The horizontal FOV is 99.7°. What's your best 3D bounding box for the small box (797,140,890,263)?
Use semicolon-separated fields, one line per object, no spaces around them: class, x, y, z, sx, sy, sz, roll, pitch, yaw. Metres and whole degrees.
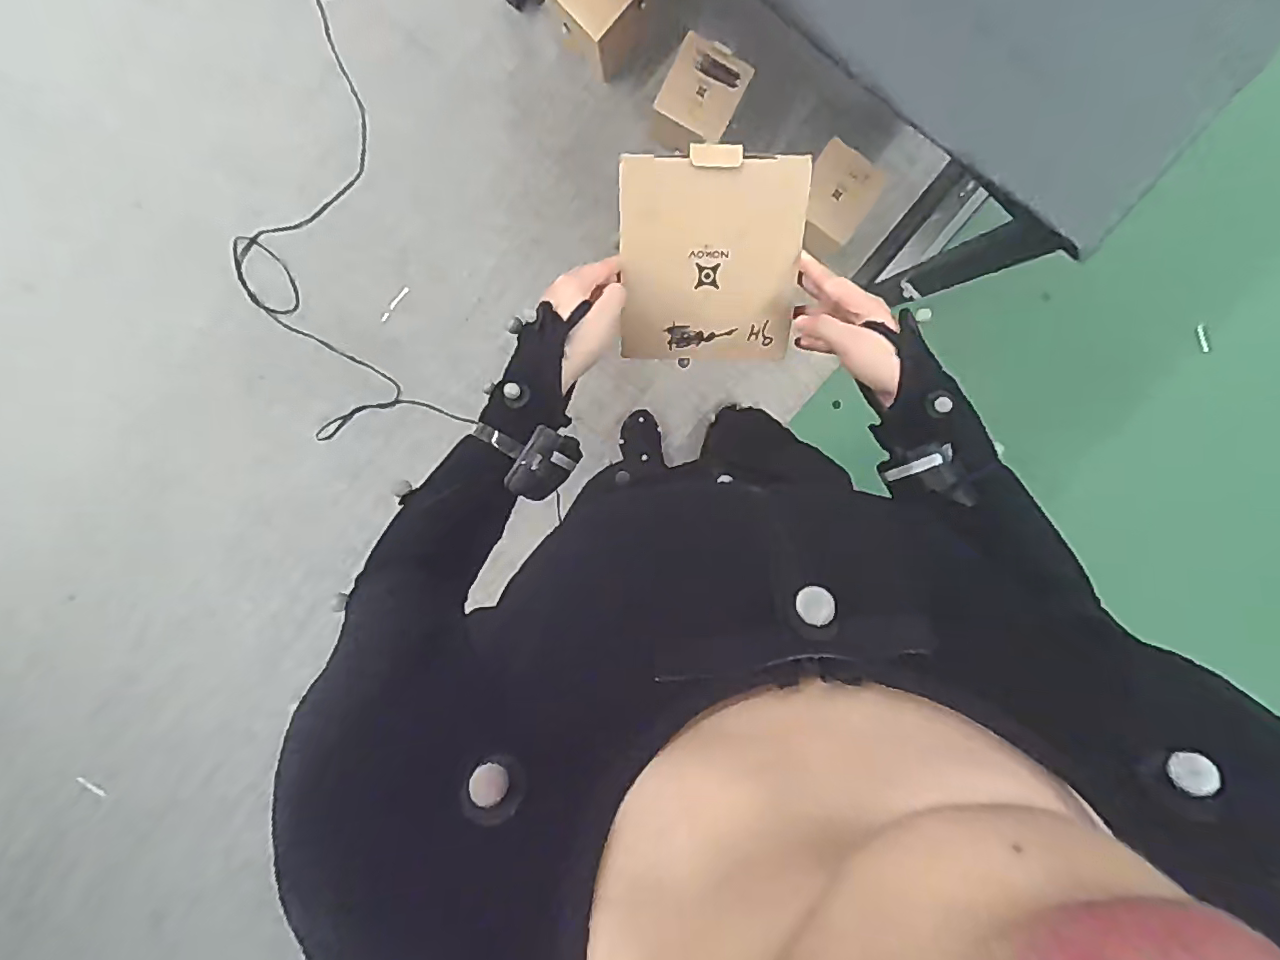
small box;0.445;-0.648;1.286;0.168;0.176;0.179;35;98;-6

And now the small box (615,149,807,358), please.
small box;0.060;-0.235;0.562;0.168;0.176;0.179;1;118;1

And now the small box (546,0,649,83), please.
small box;-0.089;-1.064;1.225;0.168;0.176;0.179;43;97;-6
